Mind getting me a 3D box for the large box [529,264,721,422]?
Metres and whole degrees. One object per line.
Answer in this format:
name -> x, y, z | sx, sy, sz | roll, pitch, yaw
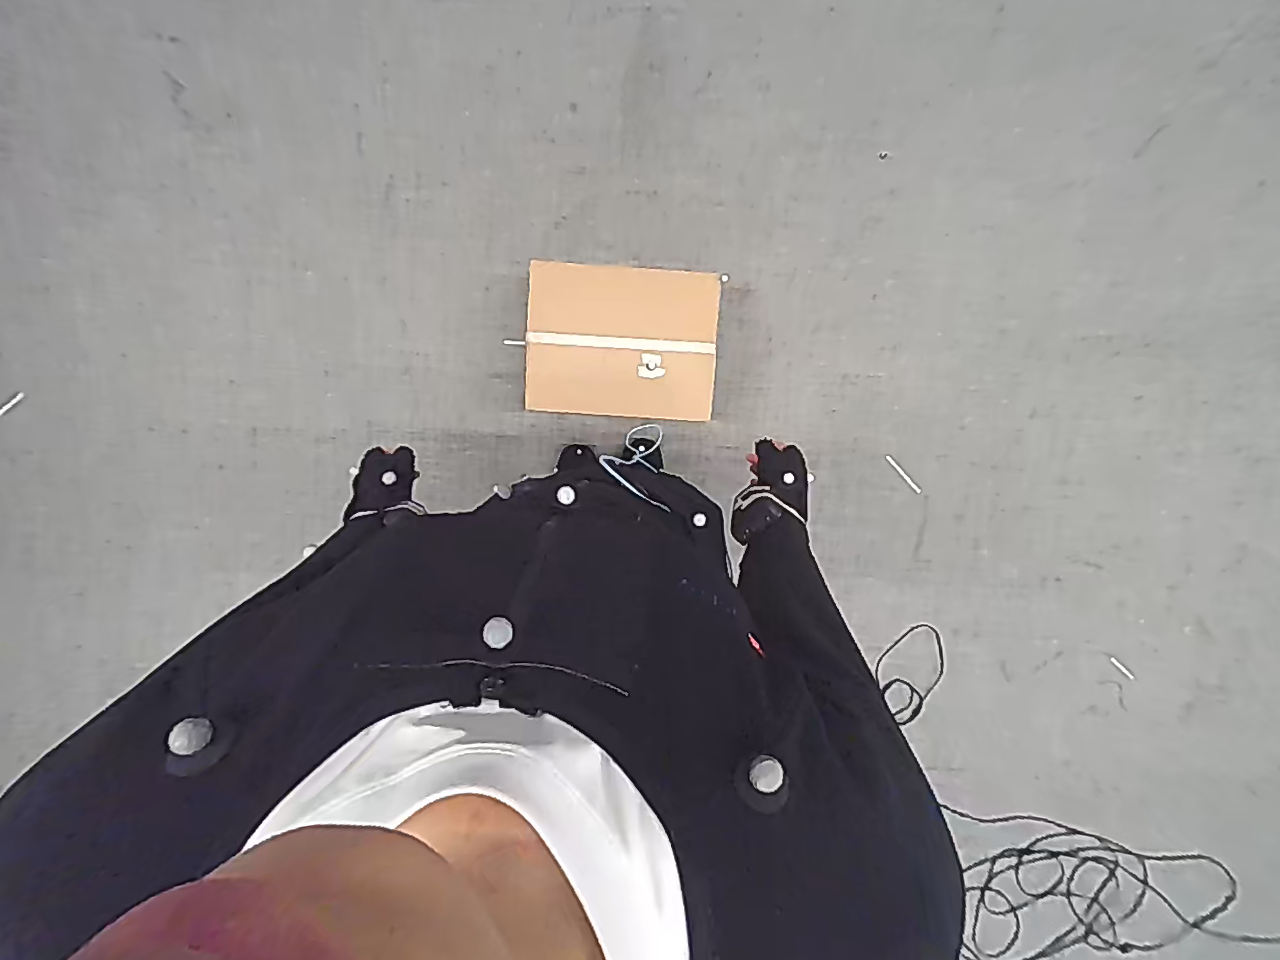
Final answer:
large box -> -0.038, -0.305, 1.297 | 0.408, 0.320, 0.320 | 4, 97, -1
